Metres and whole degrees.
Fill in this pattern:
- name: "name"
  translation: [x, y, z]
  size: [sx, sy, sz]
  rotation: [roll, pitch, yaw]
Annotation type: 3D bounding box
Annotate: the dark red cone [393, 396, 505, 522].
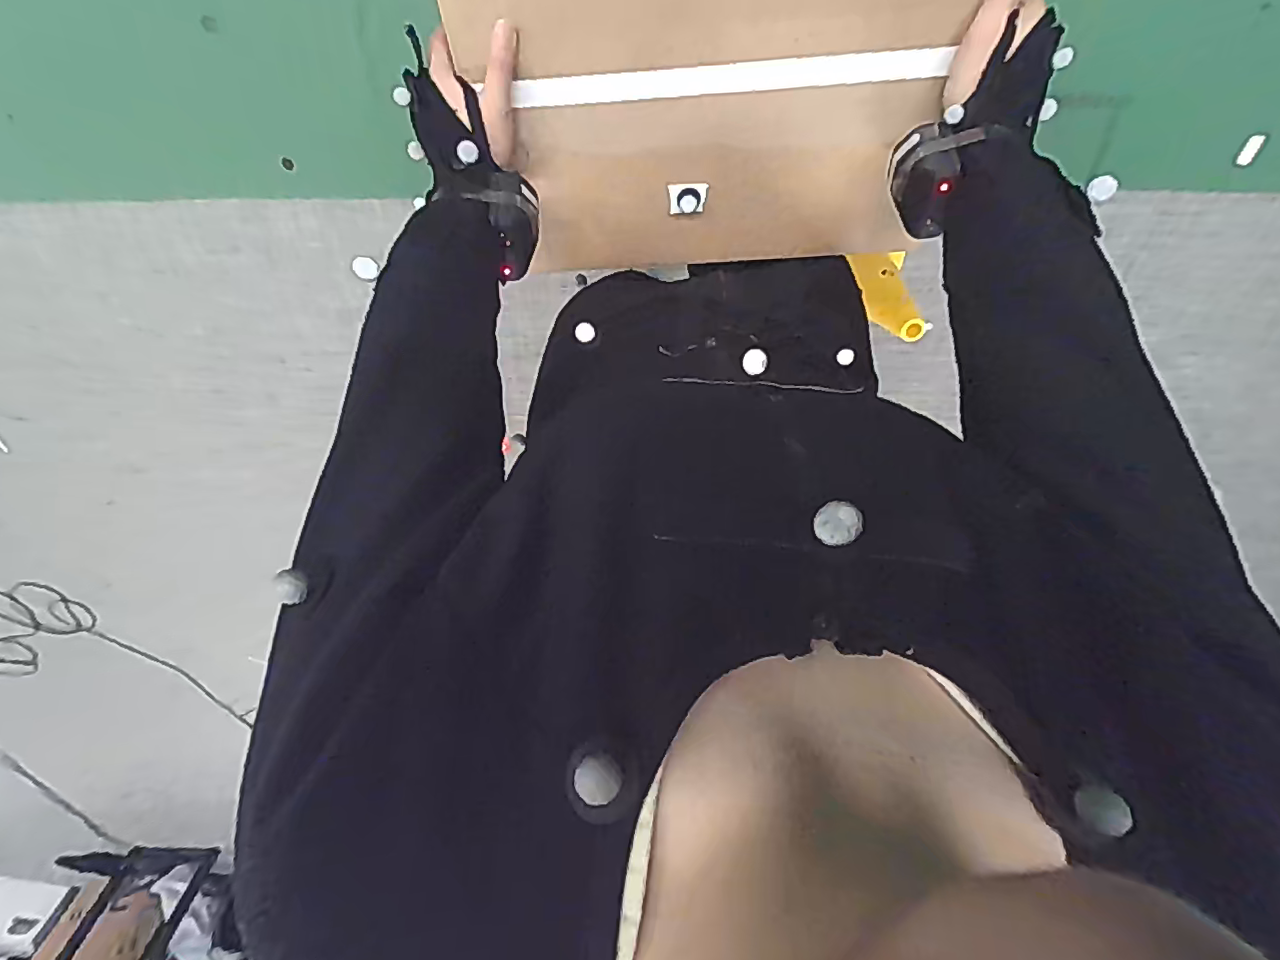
- name: "dark red cone"
  translation: [-0.478, -0.034, 1.280]
  size: [0.202, 0.394, 0.201]
  rotation: [-5, 123, 7]
